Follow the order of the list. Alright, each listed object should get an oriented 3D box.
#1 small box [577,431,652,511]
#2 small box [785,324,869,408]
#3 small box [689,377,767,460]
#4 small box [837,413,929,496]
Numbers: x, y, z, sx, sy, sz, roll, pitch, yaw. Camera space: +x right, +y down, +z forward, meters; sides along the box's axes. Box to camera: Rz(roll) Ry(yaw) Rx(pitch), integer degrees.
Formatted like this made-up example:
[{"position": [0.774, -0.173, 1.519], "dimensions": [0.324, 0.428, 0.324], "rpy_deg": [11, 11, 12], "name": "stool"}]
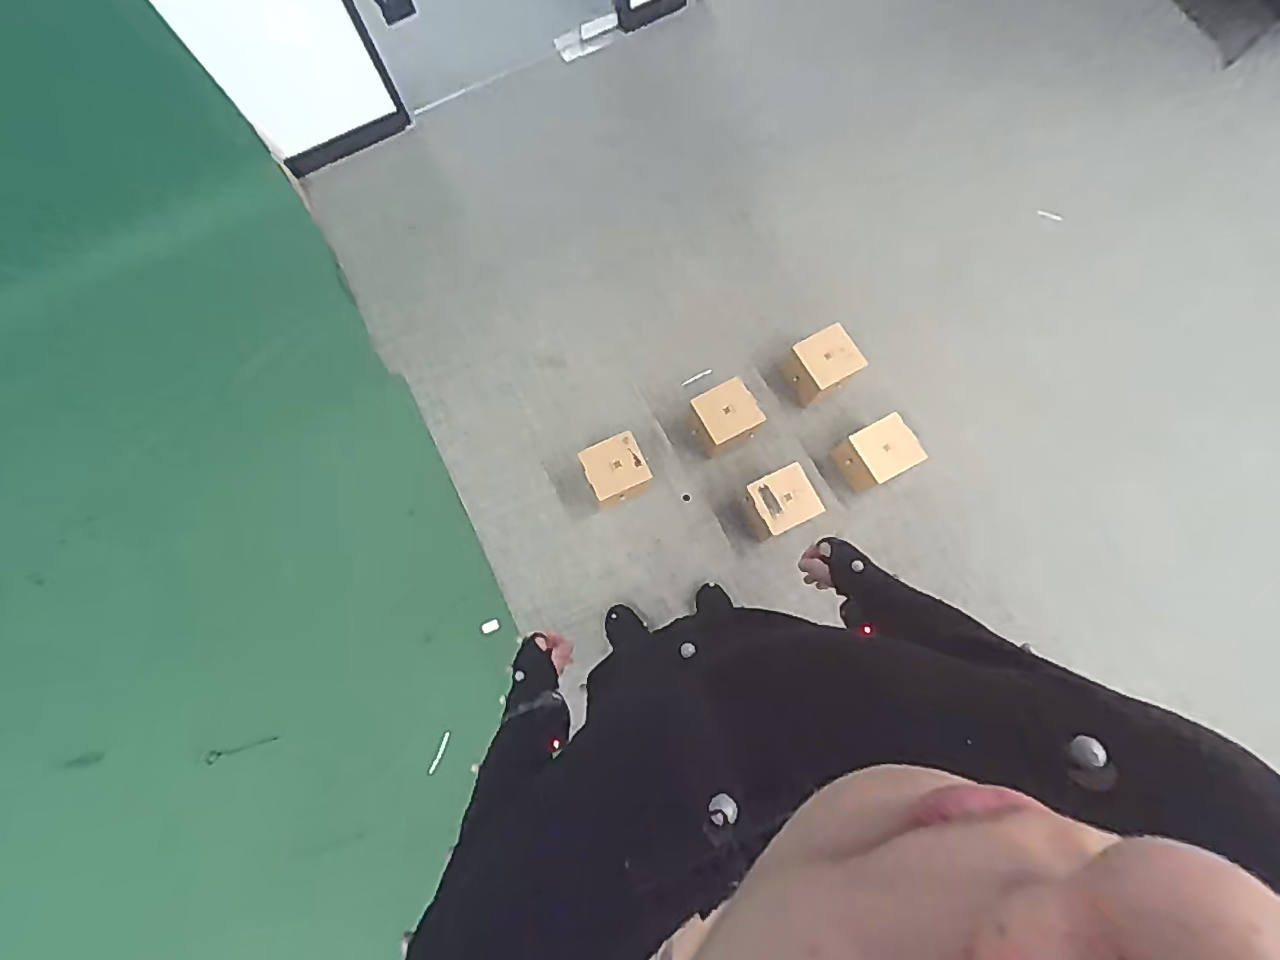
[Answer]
[{"position": [-0.072, -0.021, 1.647], "dimensions": [0.179, 0.176, 0.168], "rpy_deg": [-24, 77, -4], "name": "small box"}, {"position": [0.581, -0.354, 1.715], "dimensions": [0.179, 0.176, 0.168], "rpy_deg": [-28, 78, -6], "name": "small box"}, {"position": [0.267, -0.186, 1.682], "dimensions": [0.179, 0.176, 0.168], "rpy_deg": [-27, 77, -5], "name": "small box"}, {"position": [0.726, -0.071, 1.647], "dimensions": [0.179, 0.176, 0.168], "rpy_deg": [-28, 77, -6], "name": "small box"}]
